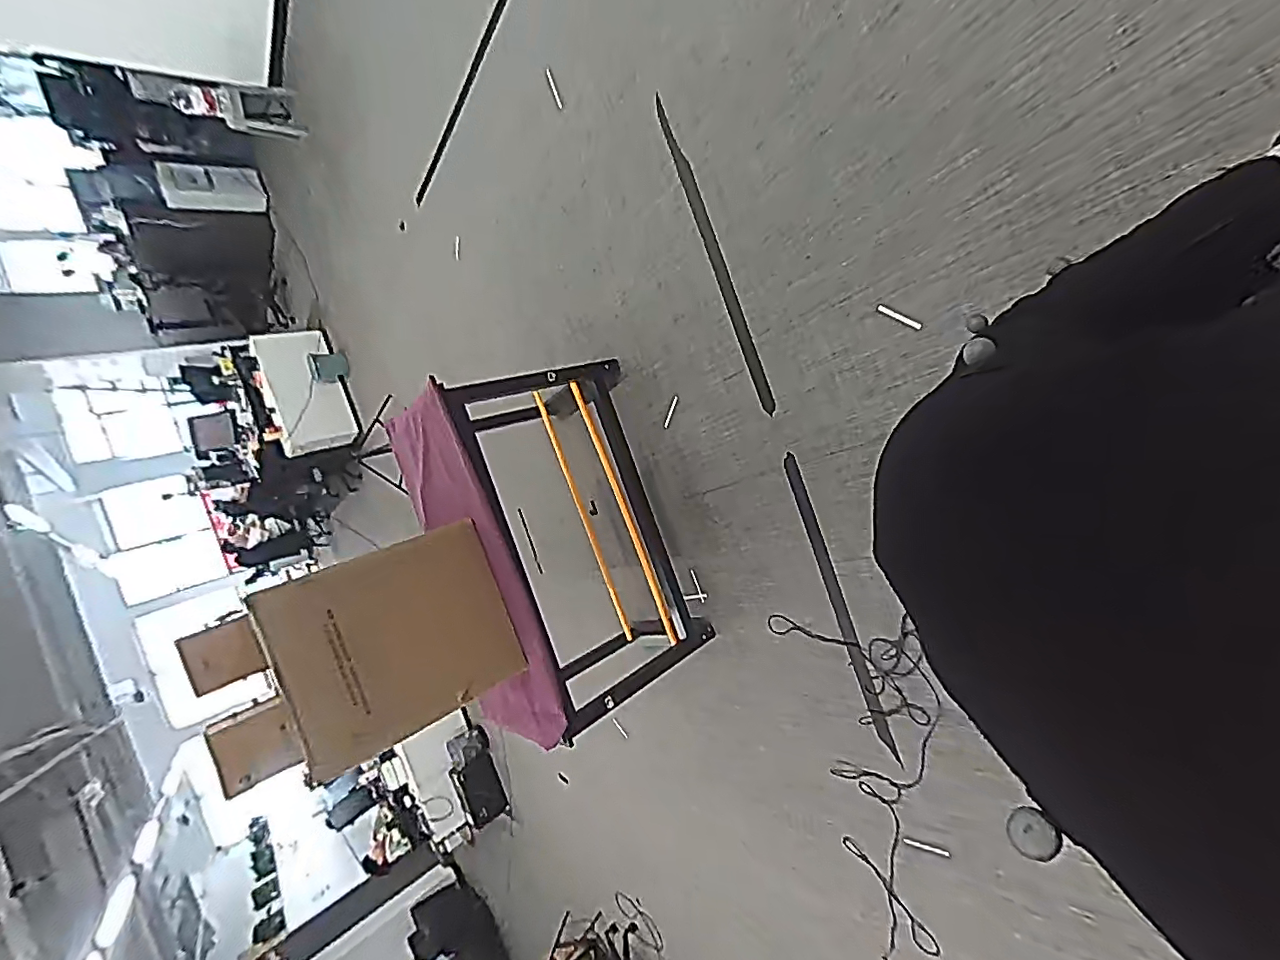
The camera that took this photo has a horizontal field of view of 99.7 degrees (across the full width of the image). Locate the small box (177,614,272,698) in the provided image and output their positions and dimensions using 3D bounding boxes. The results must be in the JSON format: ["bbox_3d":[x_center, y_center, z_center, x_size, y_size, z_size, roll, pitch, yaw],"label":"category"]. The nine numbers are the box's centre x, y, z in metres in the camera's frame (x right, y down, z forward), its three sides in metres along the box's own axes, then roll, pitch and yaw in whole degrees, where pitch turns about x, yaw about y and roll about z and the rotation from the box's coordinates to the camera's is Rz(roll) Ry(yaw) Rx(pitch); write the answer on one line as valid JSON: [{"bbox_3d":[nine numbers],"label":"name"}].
[{"bbox_3d":[-1.179,0.492,1.538,0.168,0.176,0.179,-24,89,51],"label":"small box"}]
